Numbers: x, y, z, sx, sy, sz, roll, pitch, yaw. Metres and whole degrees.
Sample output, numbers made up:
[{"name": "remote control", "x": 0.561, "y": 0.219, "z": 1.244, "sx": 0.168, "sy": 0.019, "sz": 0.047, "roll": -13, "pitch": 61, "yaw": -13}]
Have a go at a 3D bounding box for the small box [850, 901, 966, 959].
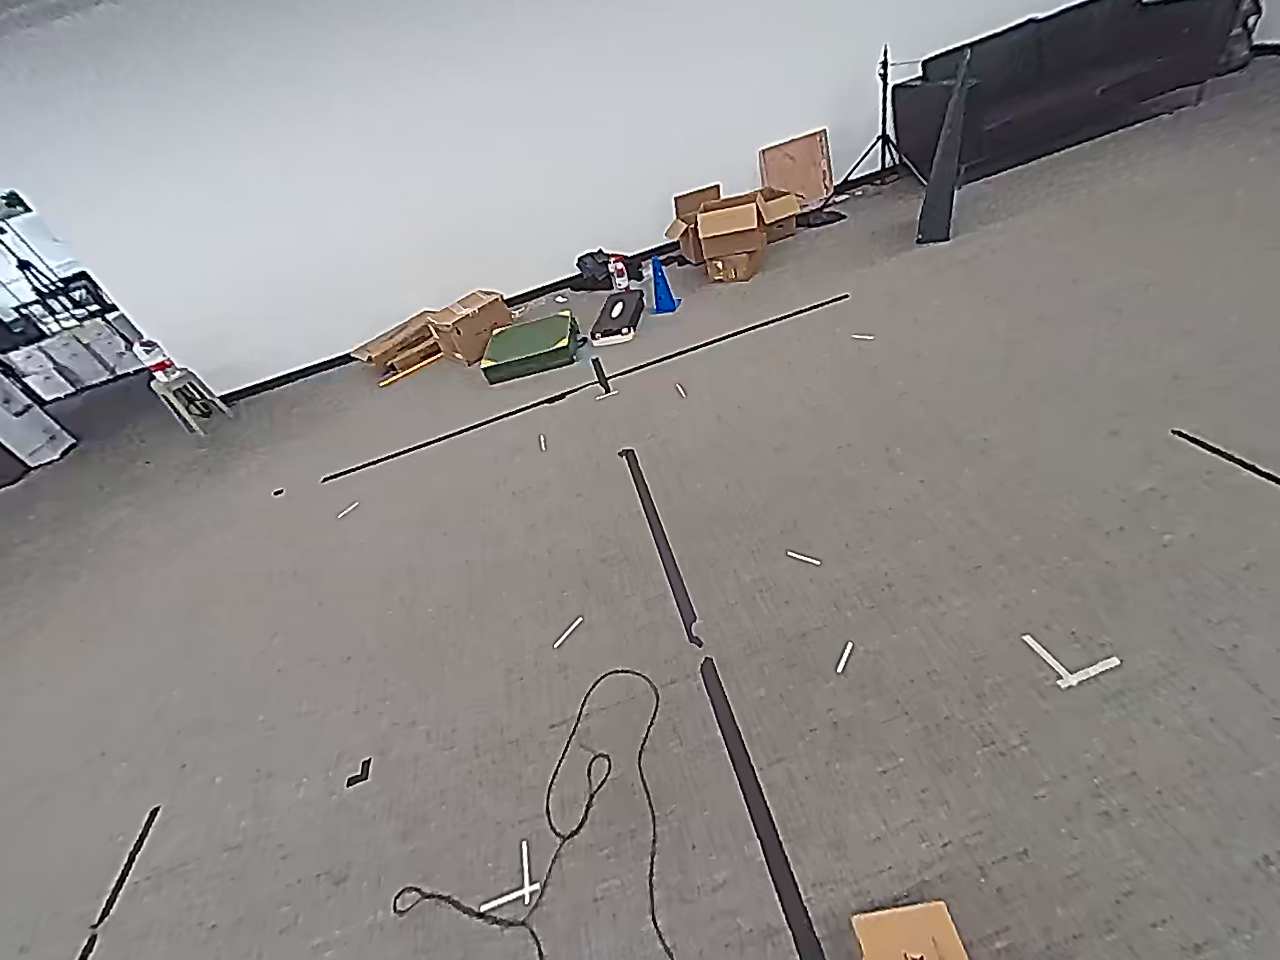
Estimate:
[{"name": "small box", "x": 0.508, "y": 0.920, "z": 1.006, "sx": 0.179, "sy": 0.176, "sz": 0.168, "roll": -14, "pitch": 38, "yaw": 5}]
